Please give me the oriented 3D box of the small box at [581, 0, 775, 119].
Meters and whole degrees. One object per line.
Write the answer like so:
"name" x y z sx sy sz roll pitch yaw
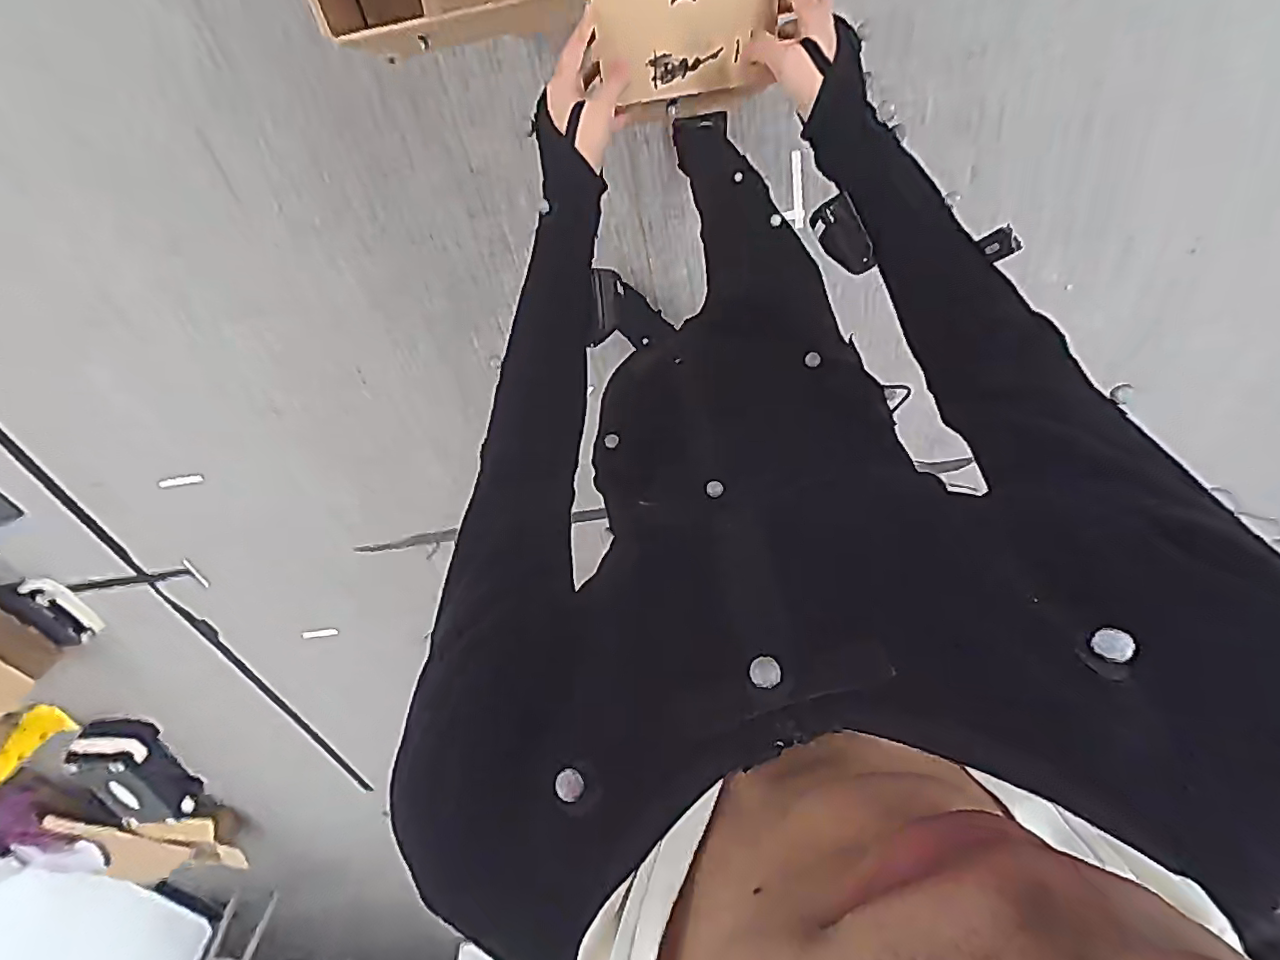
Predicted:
"small box" 0.027 -0.479 0.530 0.168 0.176 0.179 -9 118 0
